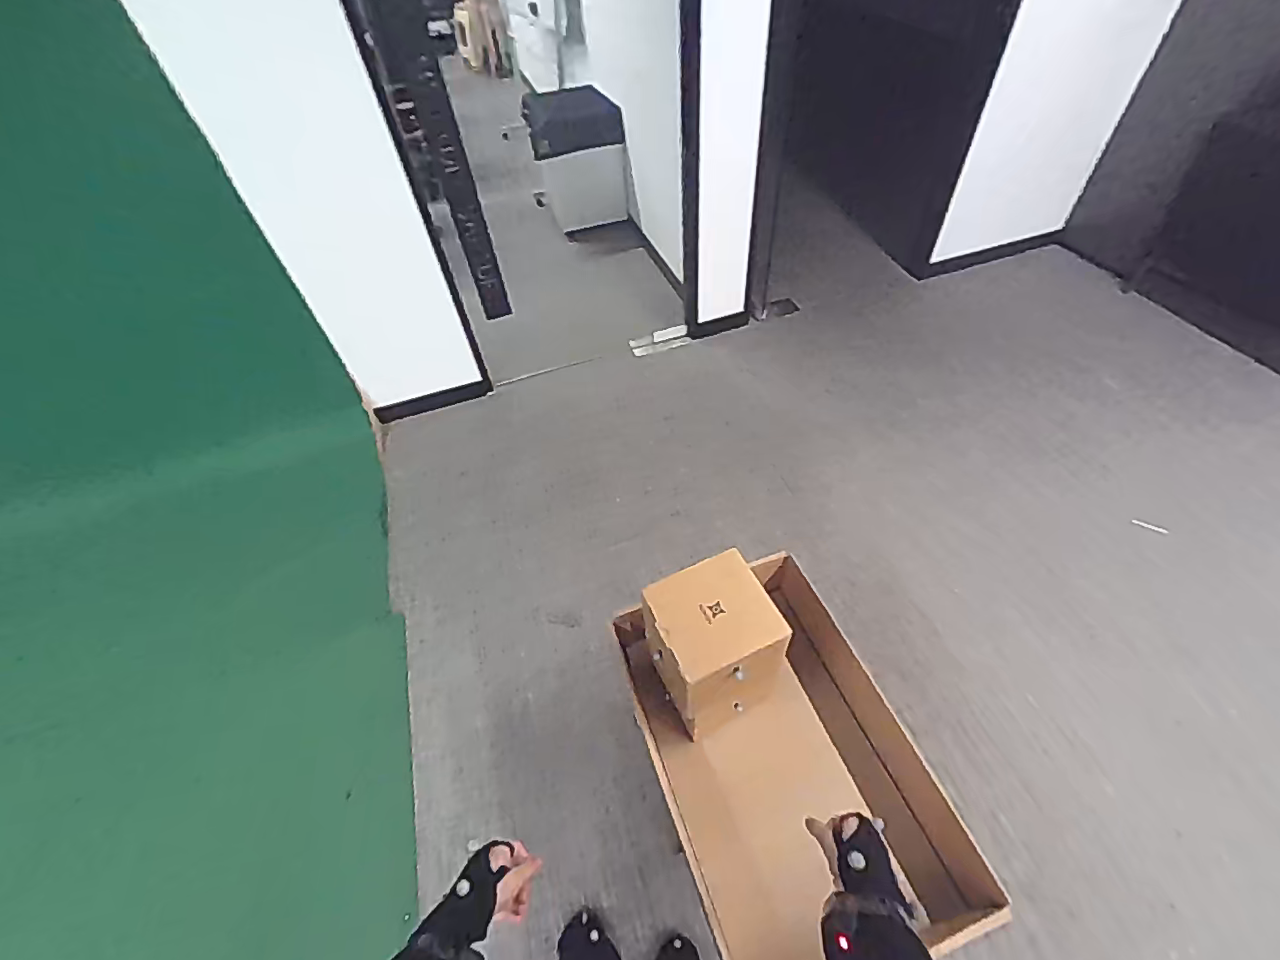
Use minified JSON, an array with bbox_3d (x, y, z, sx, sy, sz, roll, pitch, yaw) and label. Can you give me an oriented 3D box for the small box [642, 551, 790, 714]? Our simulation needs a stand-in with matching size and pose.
[{"bbox_3d":[0.117,0.251,0.882,0.179,0.176,0.168,-22,52,-11],"label":"small box"}]
